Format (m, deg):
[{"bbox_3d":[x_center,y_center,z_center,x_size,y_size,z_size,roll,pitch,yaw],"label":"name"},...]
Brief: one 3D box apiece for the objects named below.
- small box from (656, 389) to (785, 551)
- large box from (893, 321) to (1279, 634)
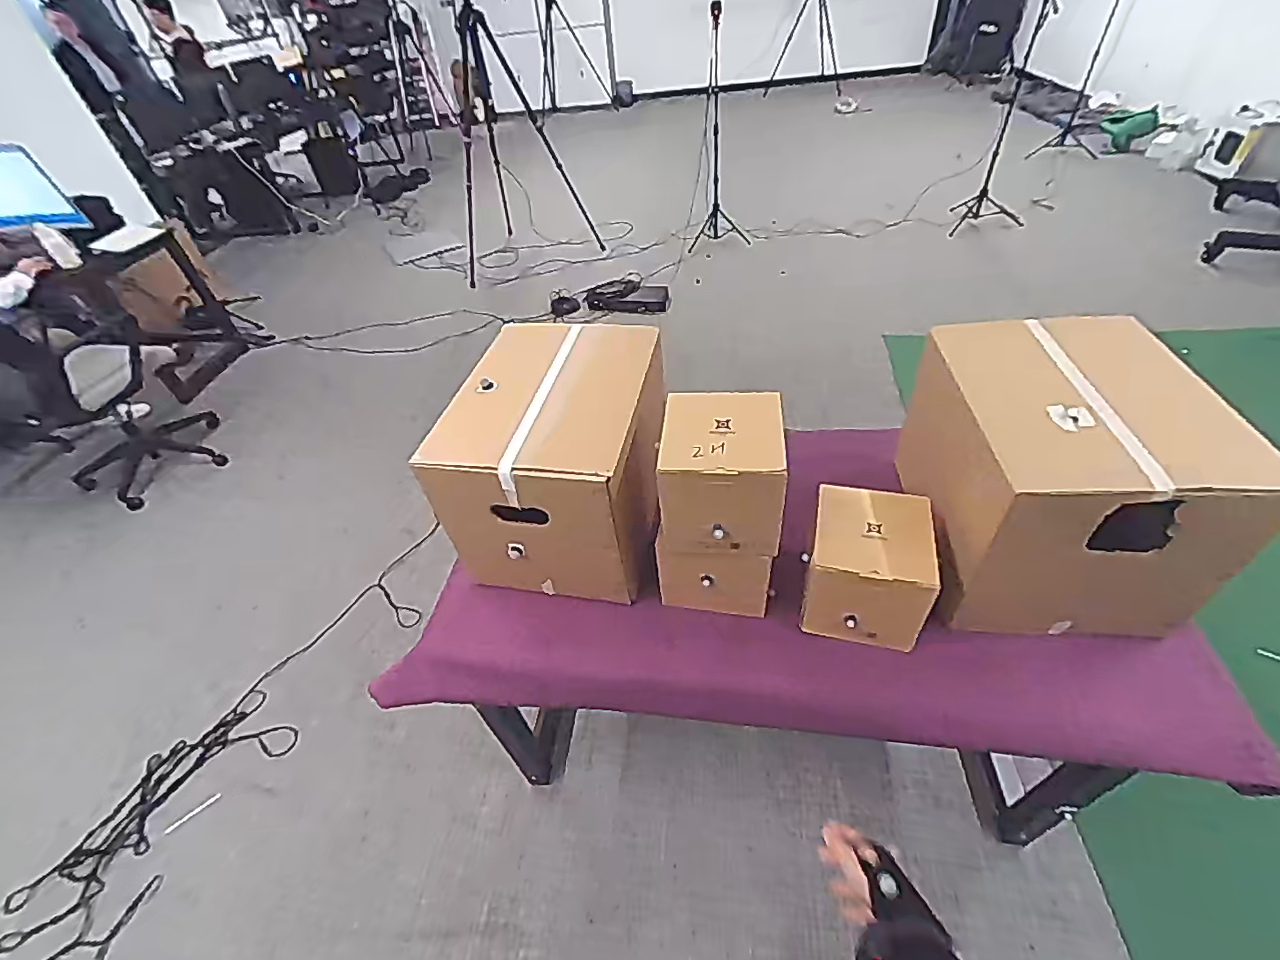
[{"bbox_3d":[0.120,-0.017,0.799,0.168,0.176,0.179,1,44,10],"label":"small box"},{"bbox_3d":[0.638,-0.013,0.864,0.320,0.320,0.408,-1,45,10],"label":"large box"}]
